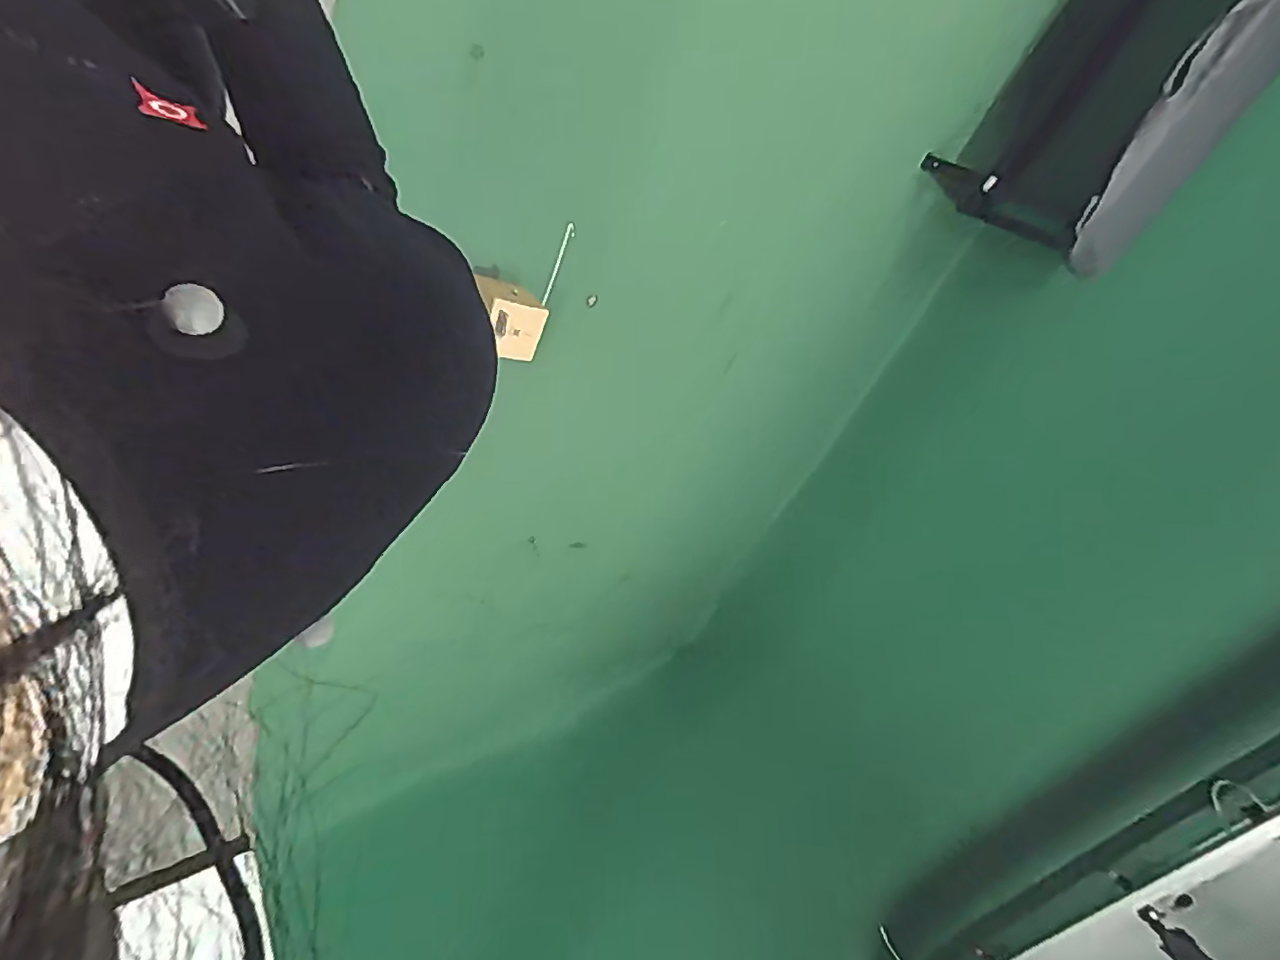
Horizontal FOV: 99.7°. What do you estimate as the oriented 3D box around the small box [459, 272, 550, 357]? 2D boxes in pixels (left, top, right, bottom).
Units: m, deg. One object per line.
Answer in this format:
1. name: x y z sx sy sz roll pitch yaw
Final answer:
1. small box: -0.396 -0.477 1.552 0.179 0.176 0.168 -3 130 -45
